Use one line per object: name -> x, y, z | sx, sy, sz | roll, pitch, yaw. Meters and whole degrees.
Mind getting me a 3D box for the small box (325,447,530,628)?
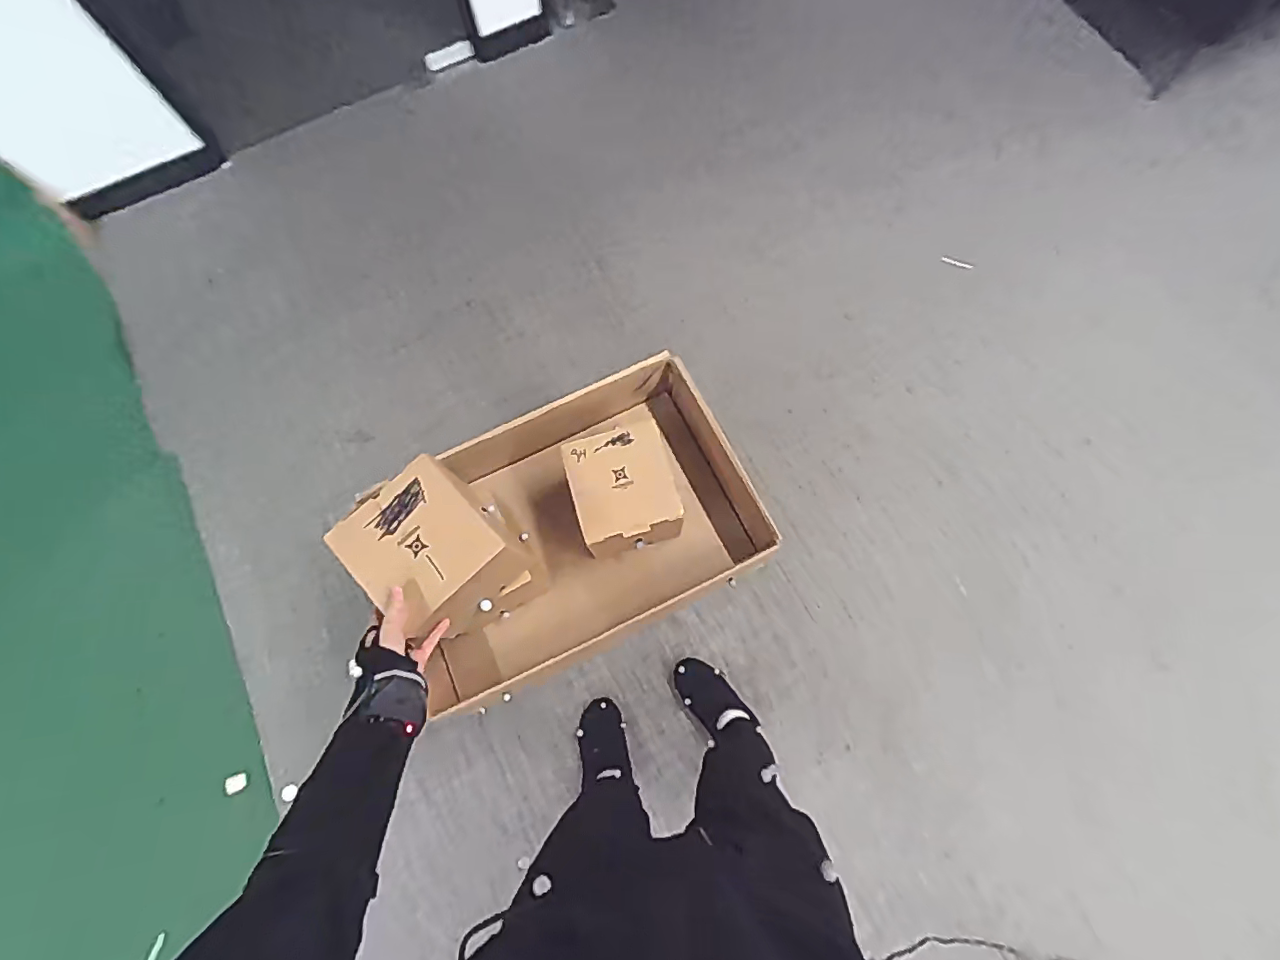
small box -> -0.281, 0.090, 0.752 | 0.168, 0.176, 0.179 | -42, 78, -9
